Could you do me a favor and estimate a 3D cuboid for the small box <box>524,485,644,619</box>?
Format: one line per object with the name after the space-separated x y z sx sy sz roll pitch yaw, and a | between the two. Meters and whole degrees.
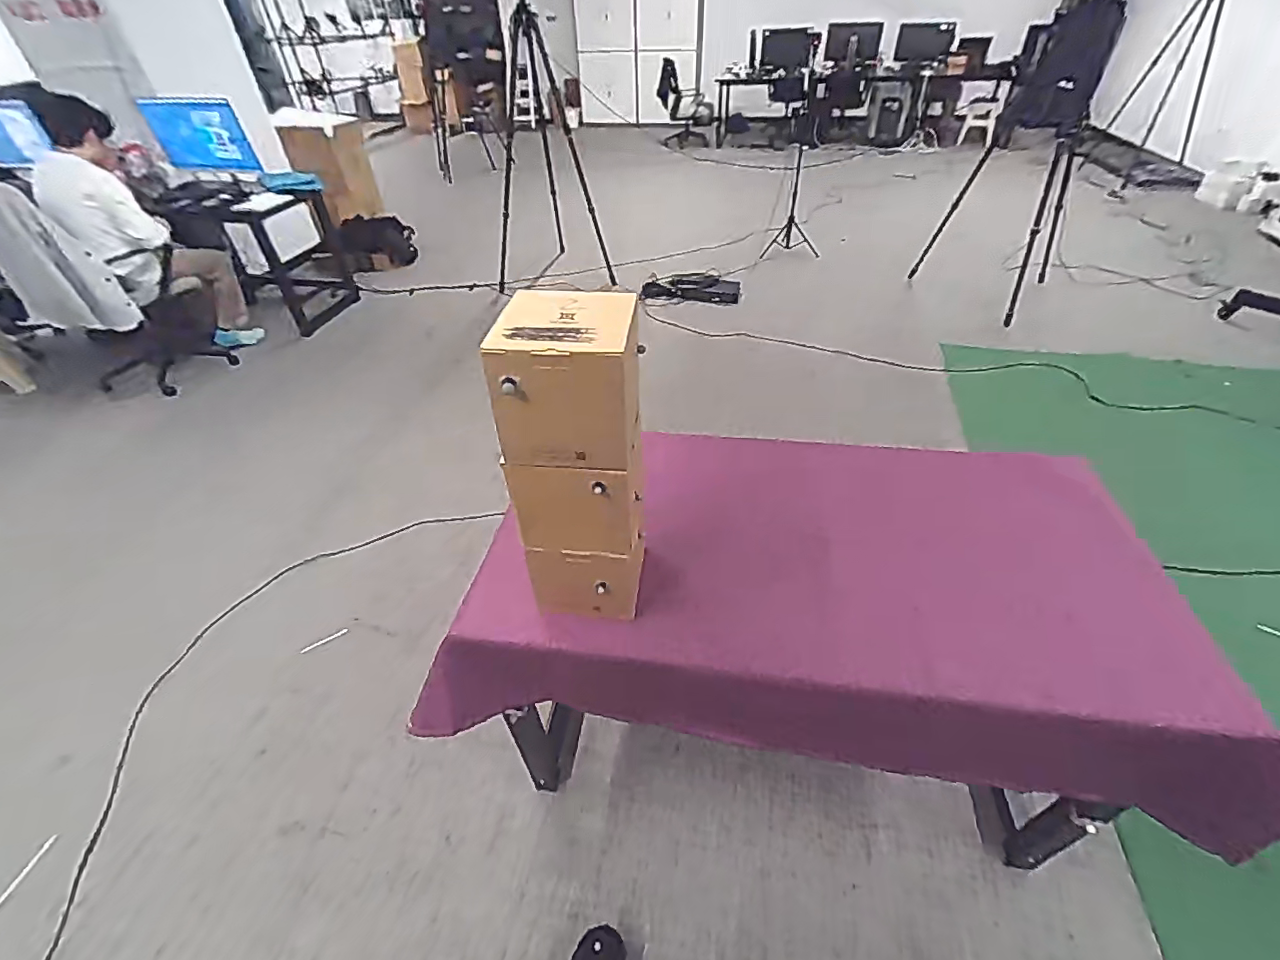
-0.085 0.118 0.930 0.168 0.176 0.179 5 41 6 | small box

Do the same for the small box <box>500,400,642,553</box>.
-0.093 -0.005 0.824 0.179 0.176 0.168 4 42 4 | small box
